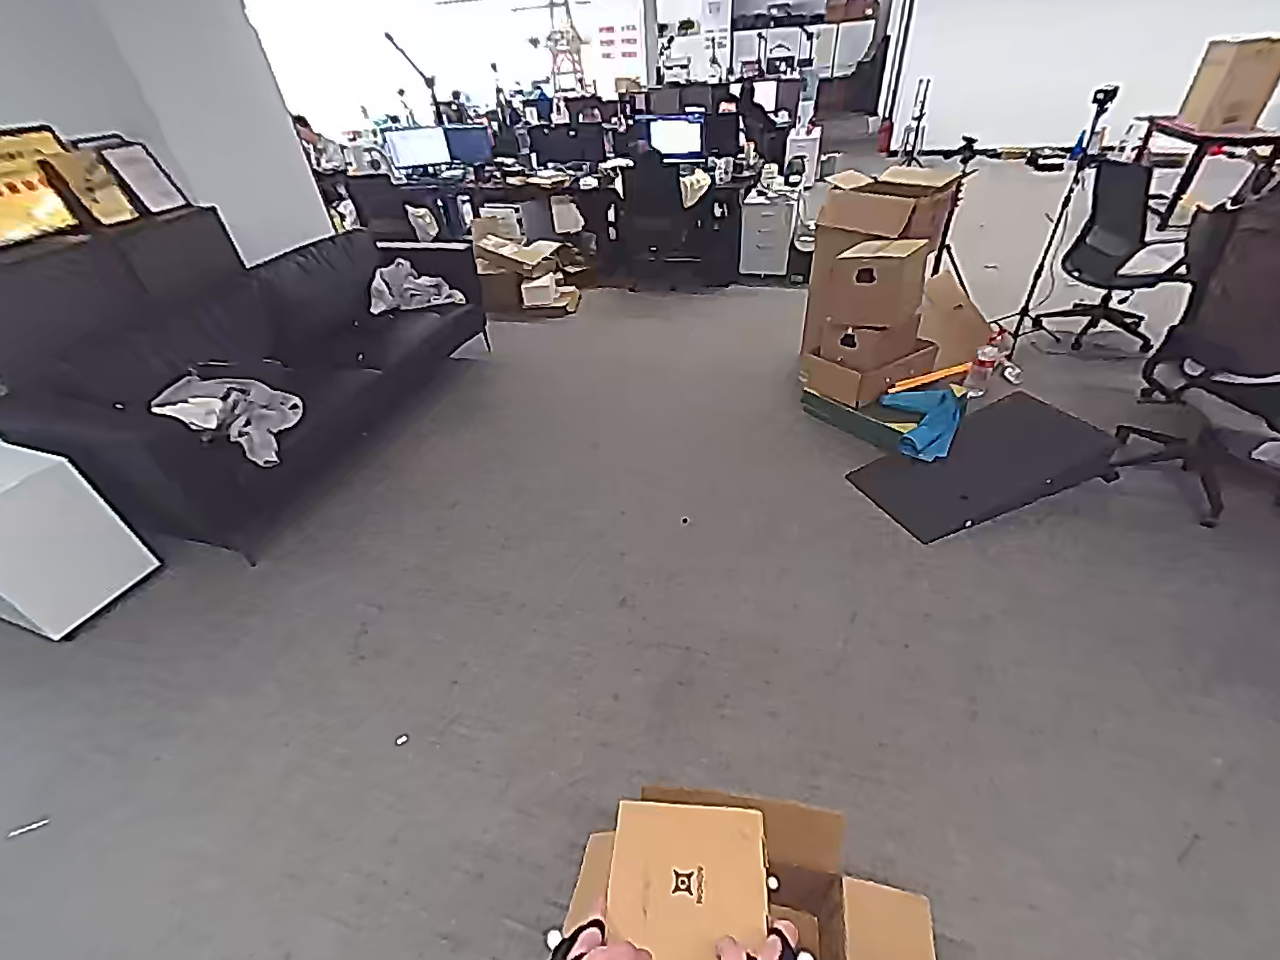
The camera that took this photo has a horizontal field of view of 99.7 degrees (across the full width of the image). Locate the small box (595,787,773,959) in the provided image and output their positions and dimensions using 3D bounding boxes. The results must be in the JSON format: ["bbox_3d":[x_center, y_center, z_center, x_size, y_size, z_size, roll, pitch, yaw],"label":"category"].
[{"bbox_3d":[0.061,0.494,0.633,0.179,0.176,0.168,-2,31,11],"label":"small box"}]
